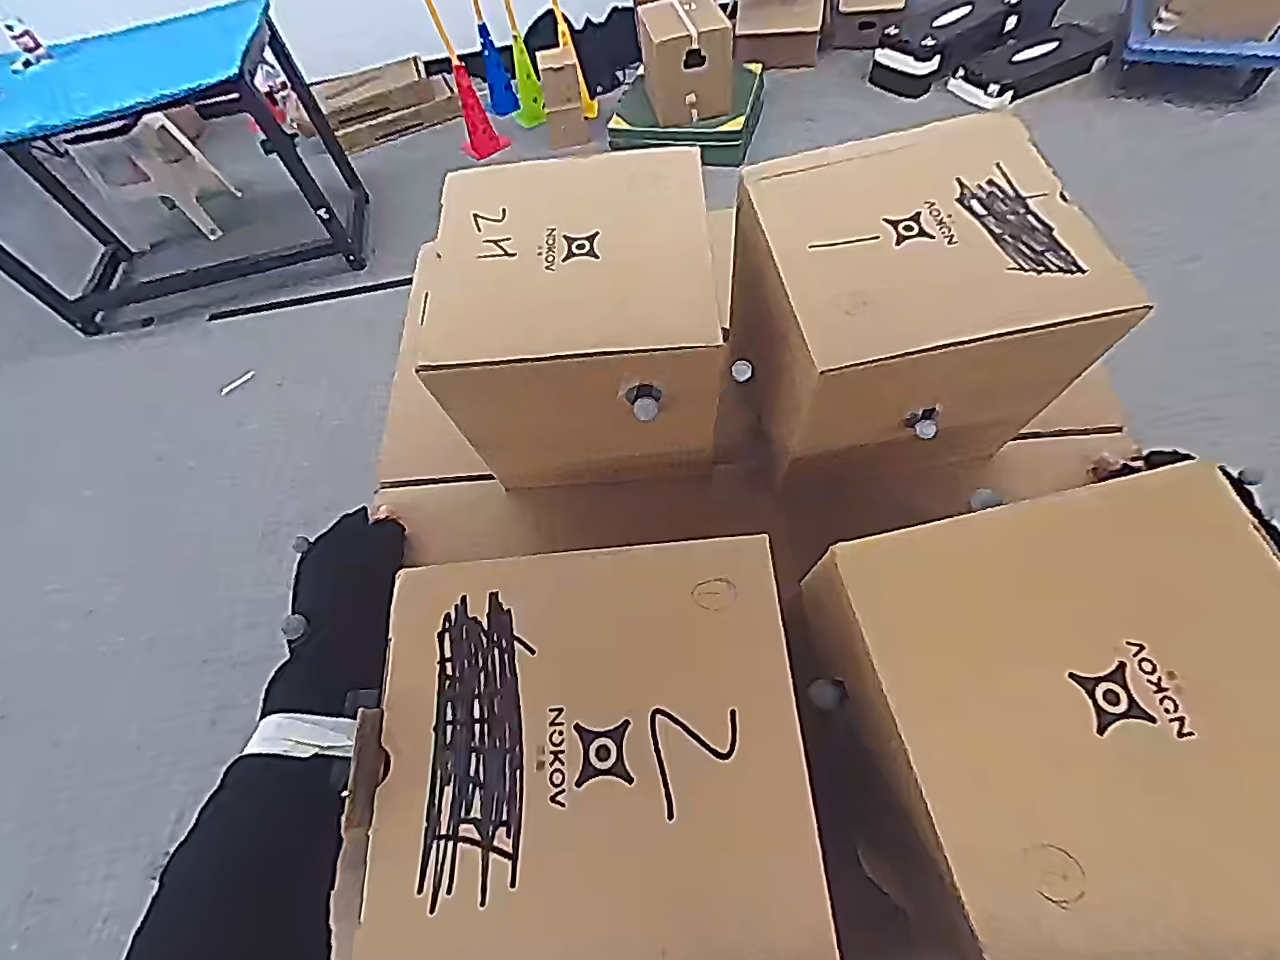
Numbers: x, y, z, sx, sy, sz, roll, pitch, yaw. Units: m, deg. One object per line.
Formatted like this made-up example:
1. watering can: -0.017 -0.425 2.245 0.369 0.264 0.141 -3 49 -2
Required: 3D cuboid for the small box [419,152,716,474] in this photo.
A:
1. small box: -0.038 -0.114 0.417 0.179 0.176 0.168 -3 65 5
